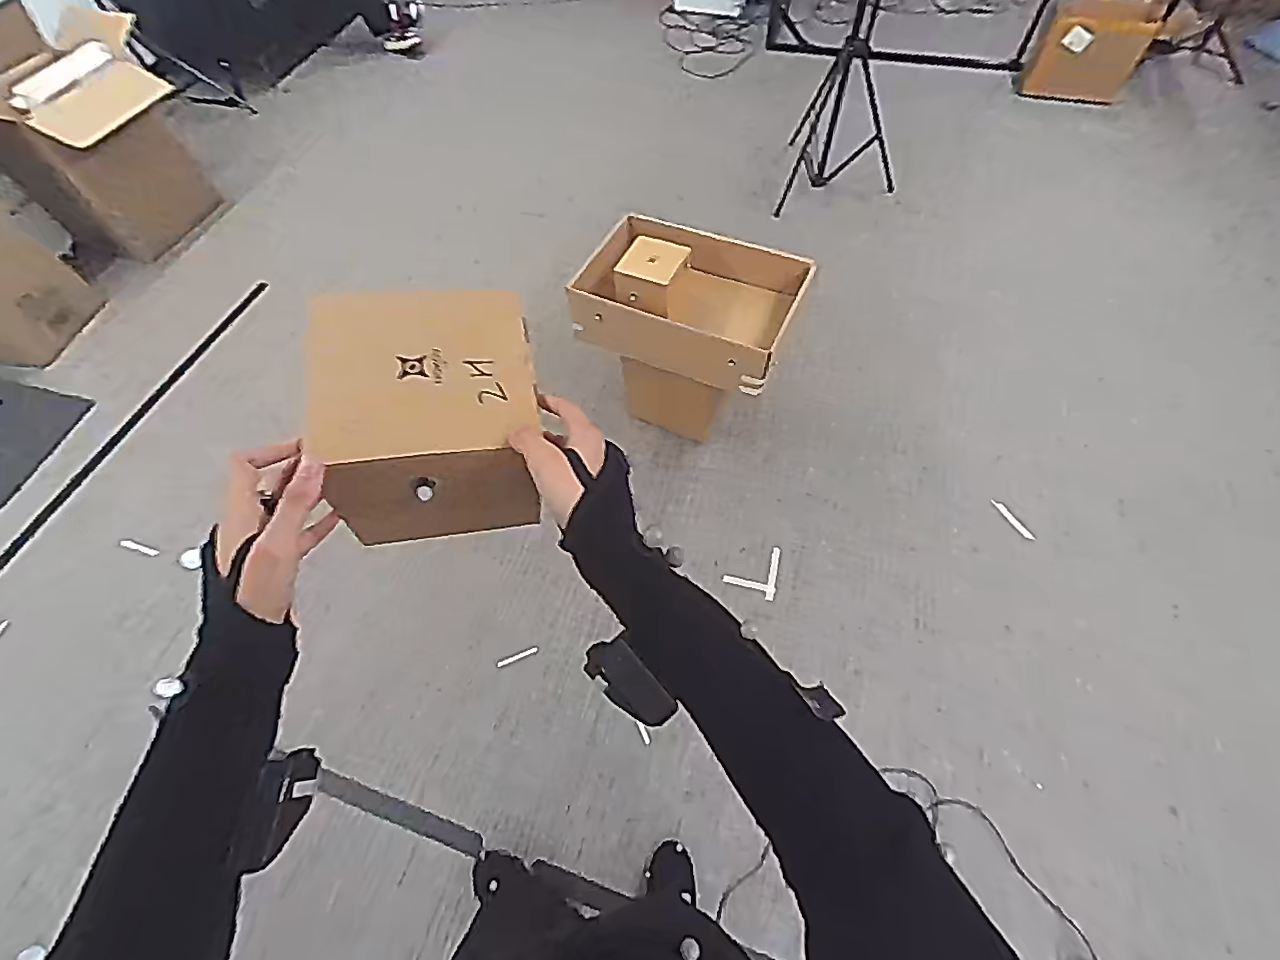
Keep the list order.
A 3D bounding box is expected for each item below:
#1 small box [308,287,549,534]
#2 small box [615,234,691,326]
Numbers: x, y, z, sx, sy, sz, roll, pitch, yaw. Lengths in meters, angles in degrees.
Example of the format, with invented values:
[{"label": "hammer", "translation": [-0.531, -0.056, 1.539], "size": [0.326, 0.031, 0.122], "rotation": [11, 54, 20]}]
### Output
[{"label": "small box", "translation": [-0.181, -0.058, 0.510], "size": [0.179, 0.176, 0.168], "rotation": [-6, 66, -14]}, {"label": "small box", "translation": [0.042, -0.585, 1.592], "size": [0.168, 0.176, 0.179], "rotation": [21, 62, 14]}]
